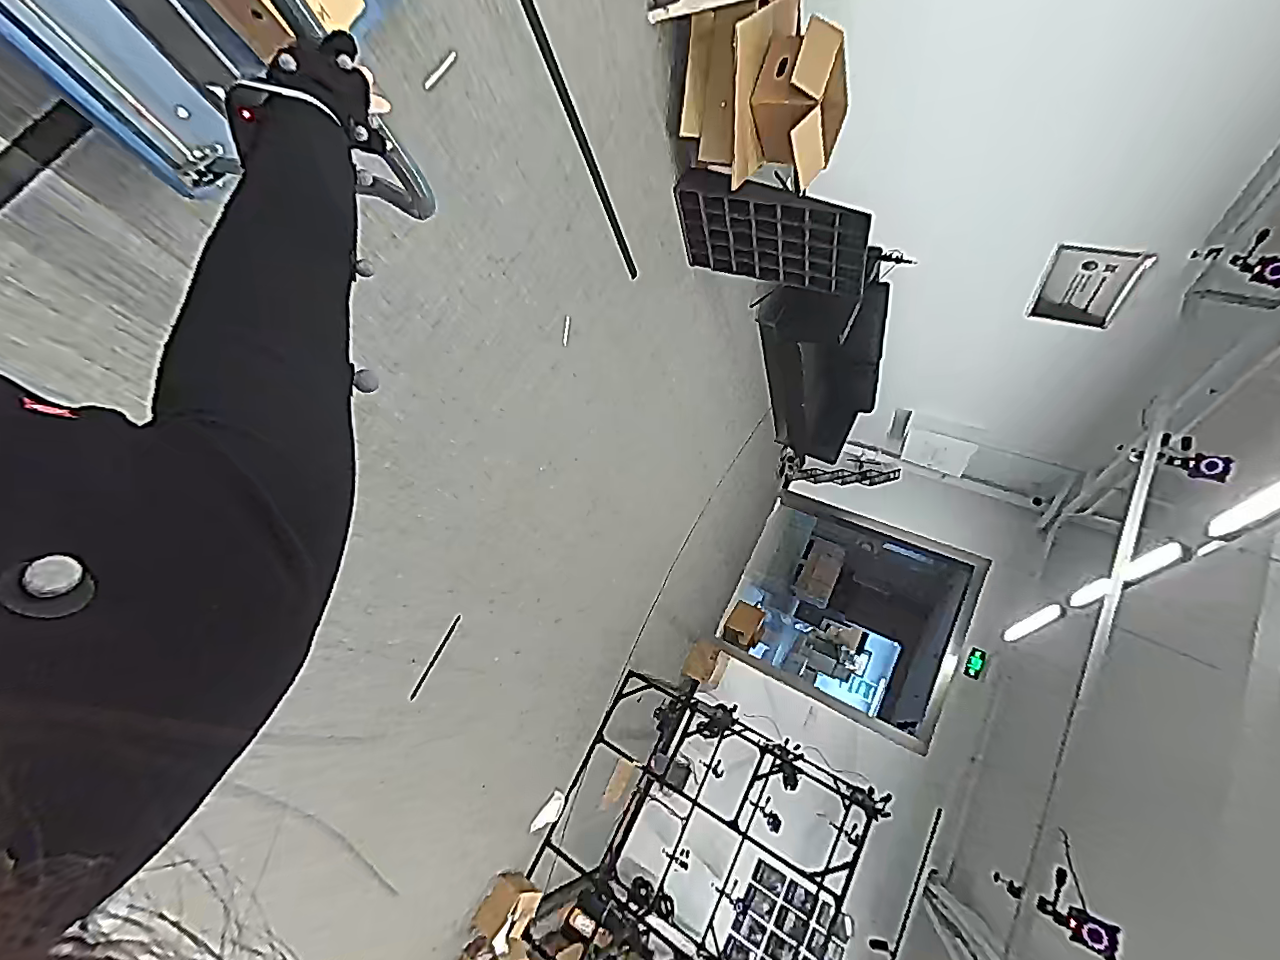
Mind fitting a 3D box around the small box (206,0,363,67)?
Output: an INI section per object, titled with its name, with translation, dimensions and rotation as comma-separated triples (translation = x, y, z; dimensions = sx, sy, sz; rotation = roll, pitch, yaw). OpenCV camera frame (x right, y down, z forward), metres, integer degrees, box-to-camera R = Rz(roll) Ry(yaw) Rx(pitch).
[small box]
translation = -0.651, -0.876, 0.961
dimensions = 0.168, 0.176, 0.179
rotation = -63, 154, -10
